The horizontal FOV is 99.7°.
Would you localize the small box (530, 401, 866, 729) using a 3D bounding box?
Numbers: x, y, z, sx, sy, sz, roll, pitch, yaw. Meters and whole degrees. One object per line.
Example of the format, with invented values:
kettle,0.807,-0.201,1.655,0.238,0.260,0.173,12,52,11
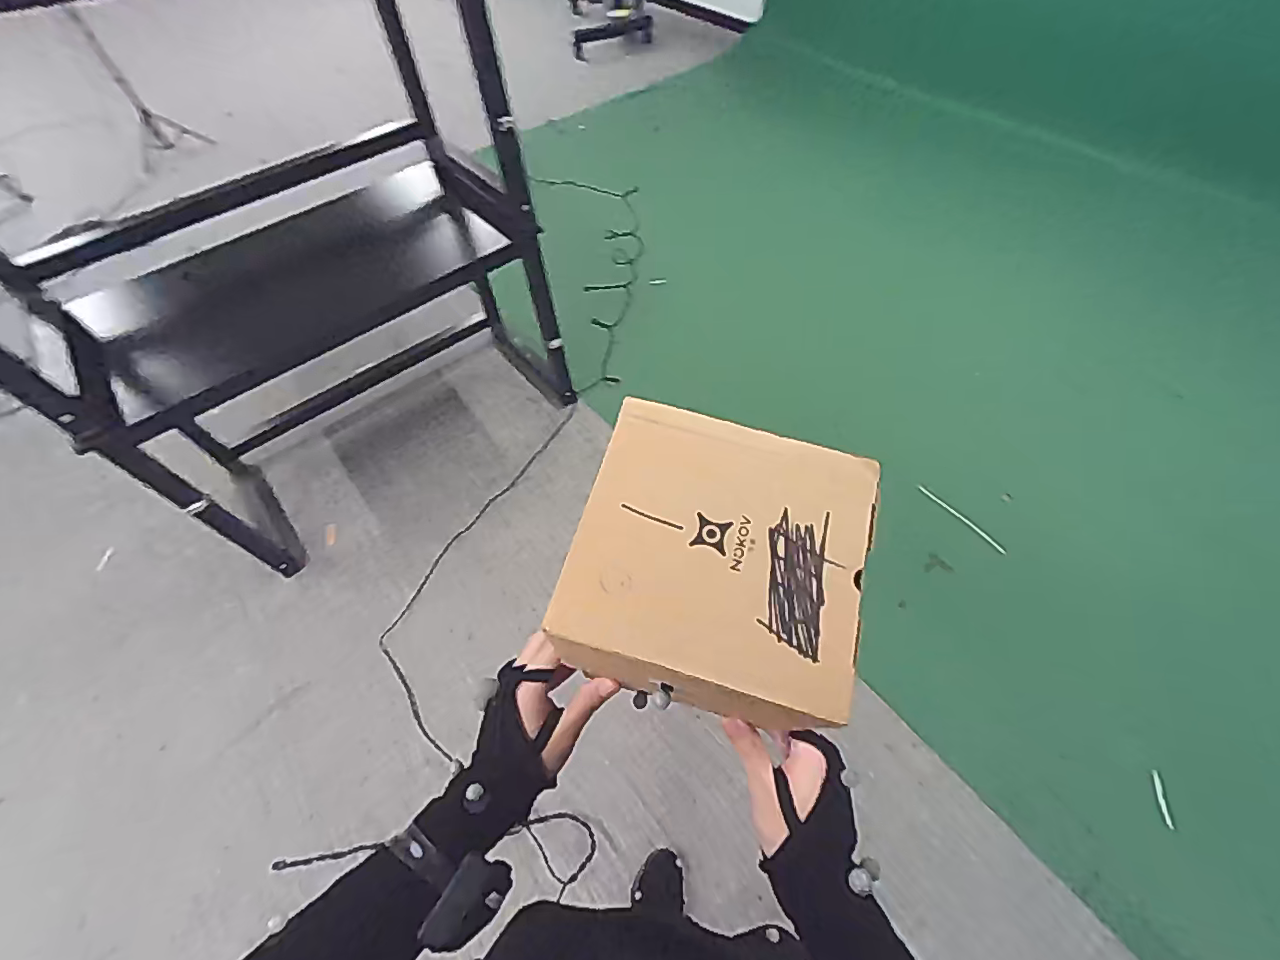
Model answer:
small box,0.040,0.072,0.400,0.179,0.176,0.168,16,64,5
